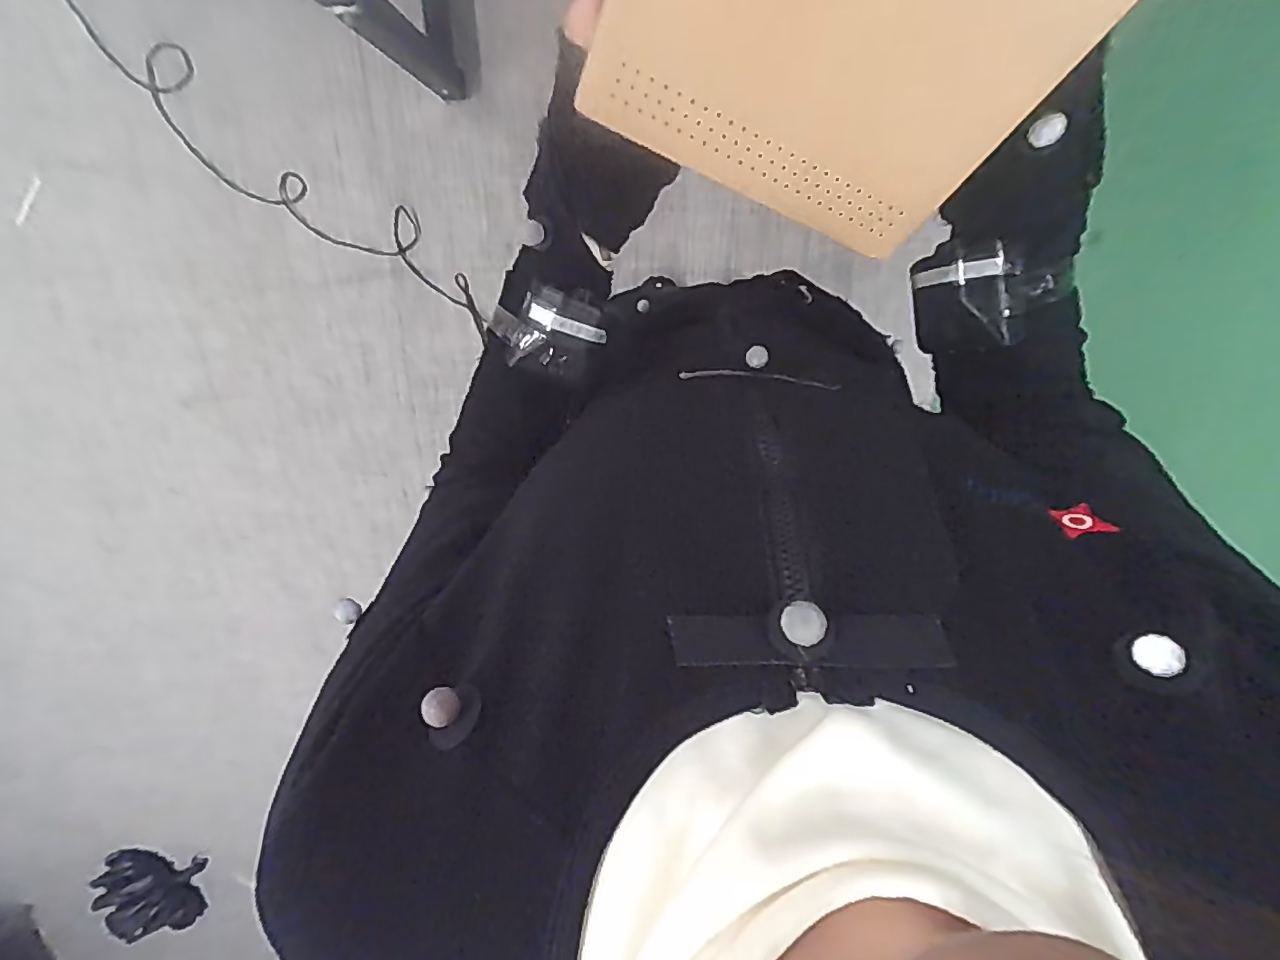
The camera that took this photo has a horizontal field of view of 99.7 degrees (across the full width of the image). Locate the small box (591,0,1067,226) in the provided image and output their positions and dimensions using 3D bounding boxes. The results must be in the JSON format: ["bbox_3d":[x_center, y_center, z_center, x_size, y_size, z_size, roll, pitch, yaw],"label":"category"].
[{"bbox_3d":[0.088,-0.257,0.251,0.179,0.168,0.176,17,147,-18],"label":"small box"}]
